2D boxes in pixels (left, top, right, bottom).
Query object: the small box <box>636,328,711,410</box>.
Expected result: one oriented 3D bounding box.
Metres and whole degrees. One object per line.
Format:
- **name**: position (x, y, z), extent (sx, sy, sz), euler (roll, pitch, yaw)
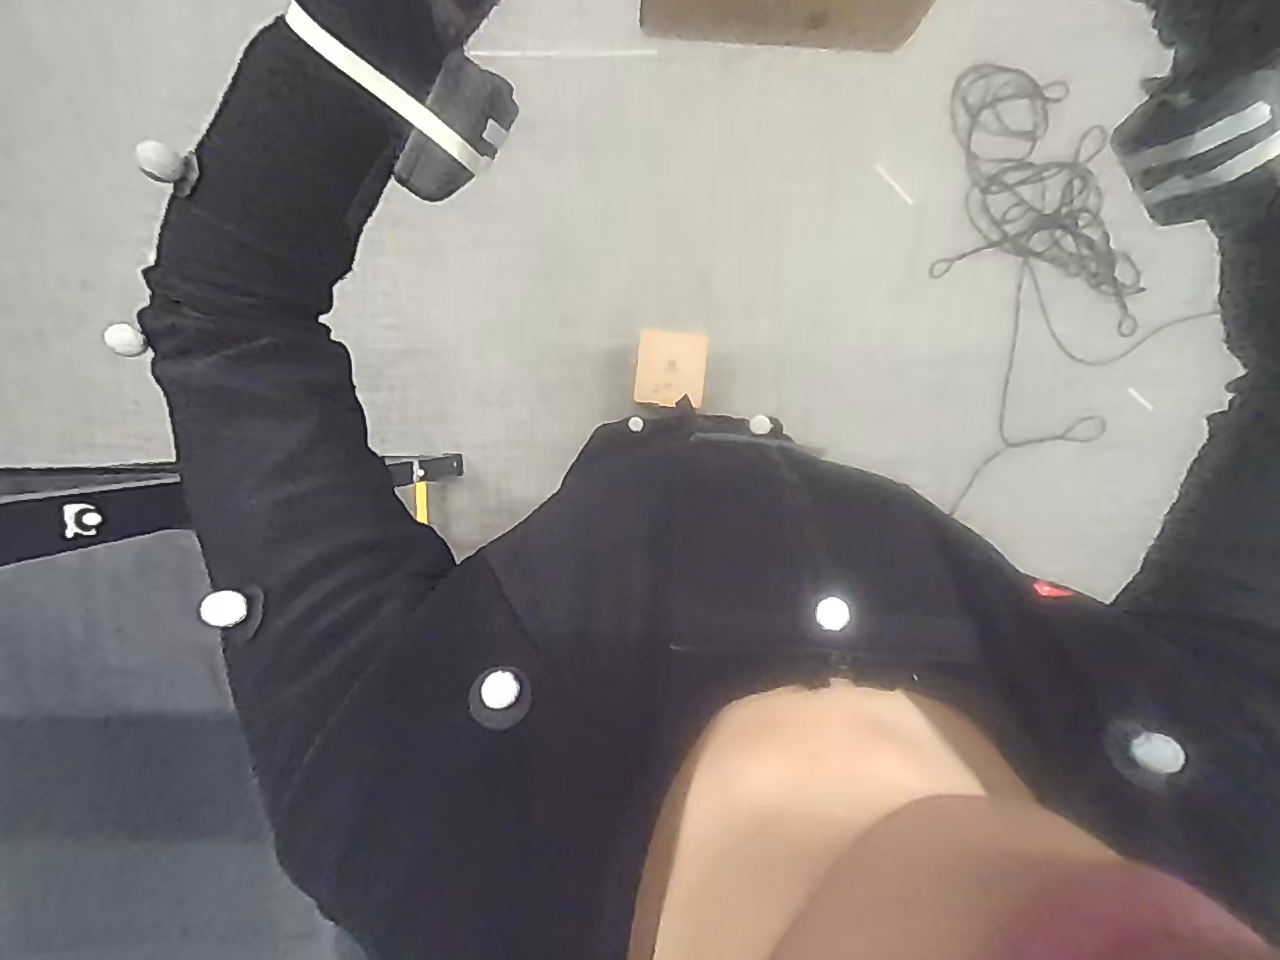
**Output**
- **small box**: position (0.080, -0.277, 1.378), extent (0.168, 0.176, 0.179), euler (6, 95, 0)
